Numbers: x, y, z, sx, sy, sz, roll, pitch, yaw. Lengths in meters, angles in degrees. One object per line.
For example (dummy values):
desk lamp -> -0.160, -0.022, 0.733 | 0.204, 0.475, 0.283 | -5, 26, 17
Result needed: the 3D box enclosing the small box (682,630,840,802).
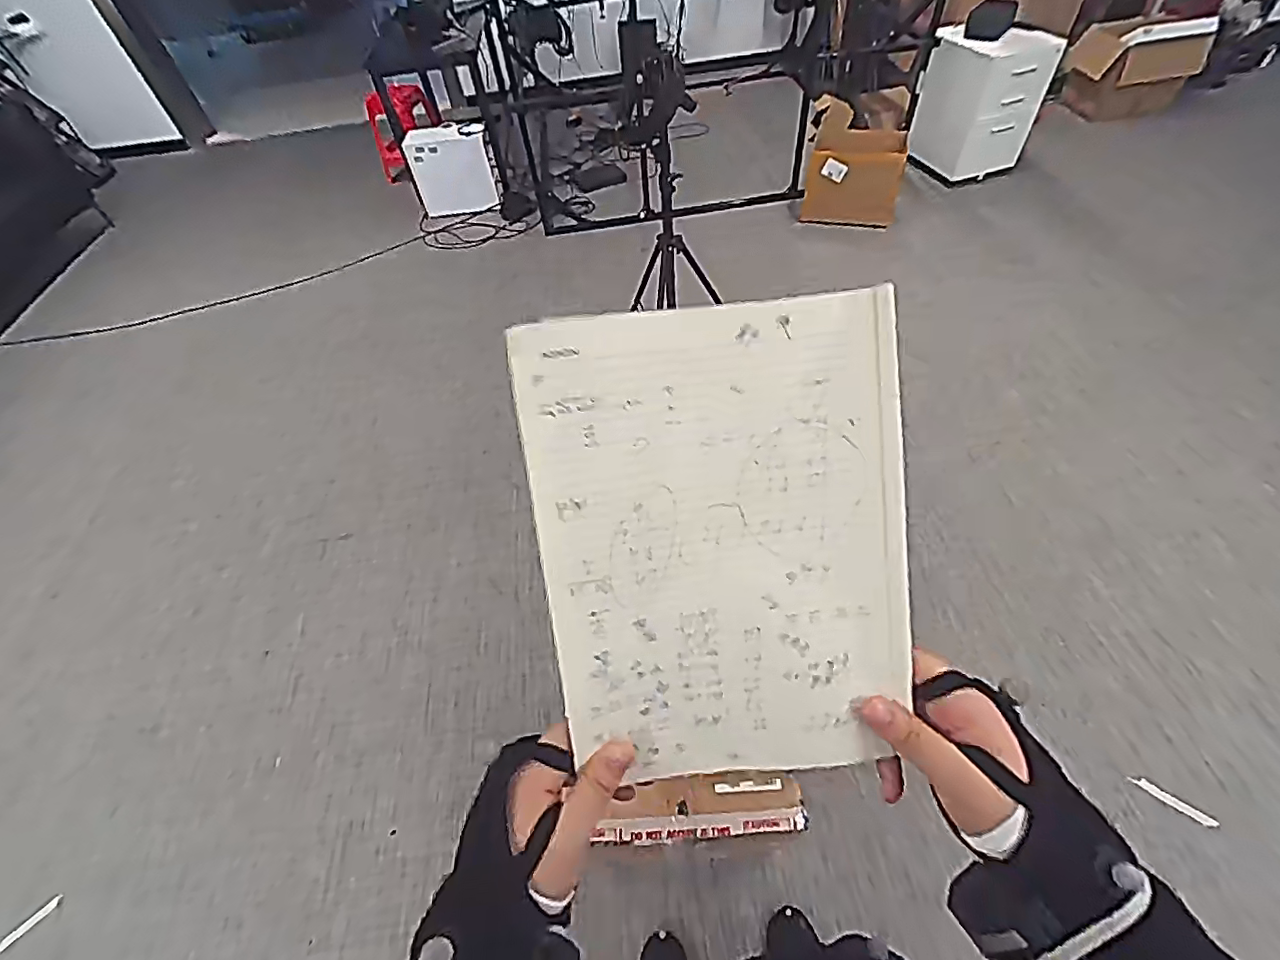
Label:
small box -> 0.144, 0.314, 0.714 | 0.168, 0.176, 0.179 | -1, 53, 1
